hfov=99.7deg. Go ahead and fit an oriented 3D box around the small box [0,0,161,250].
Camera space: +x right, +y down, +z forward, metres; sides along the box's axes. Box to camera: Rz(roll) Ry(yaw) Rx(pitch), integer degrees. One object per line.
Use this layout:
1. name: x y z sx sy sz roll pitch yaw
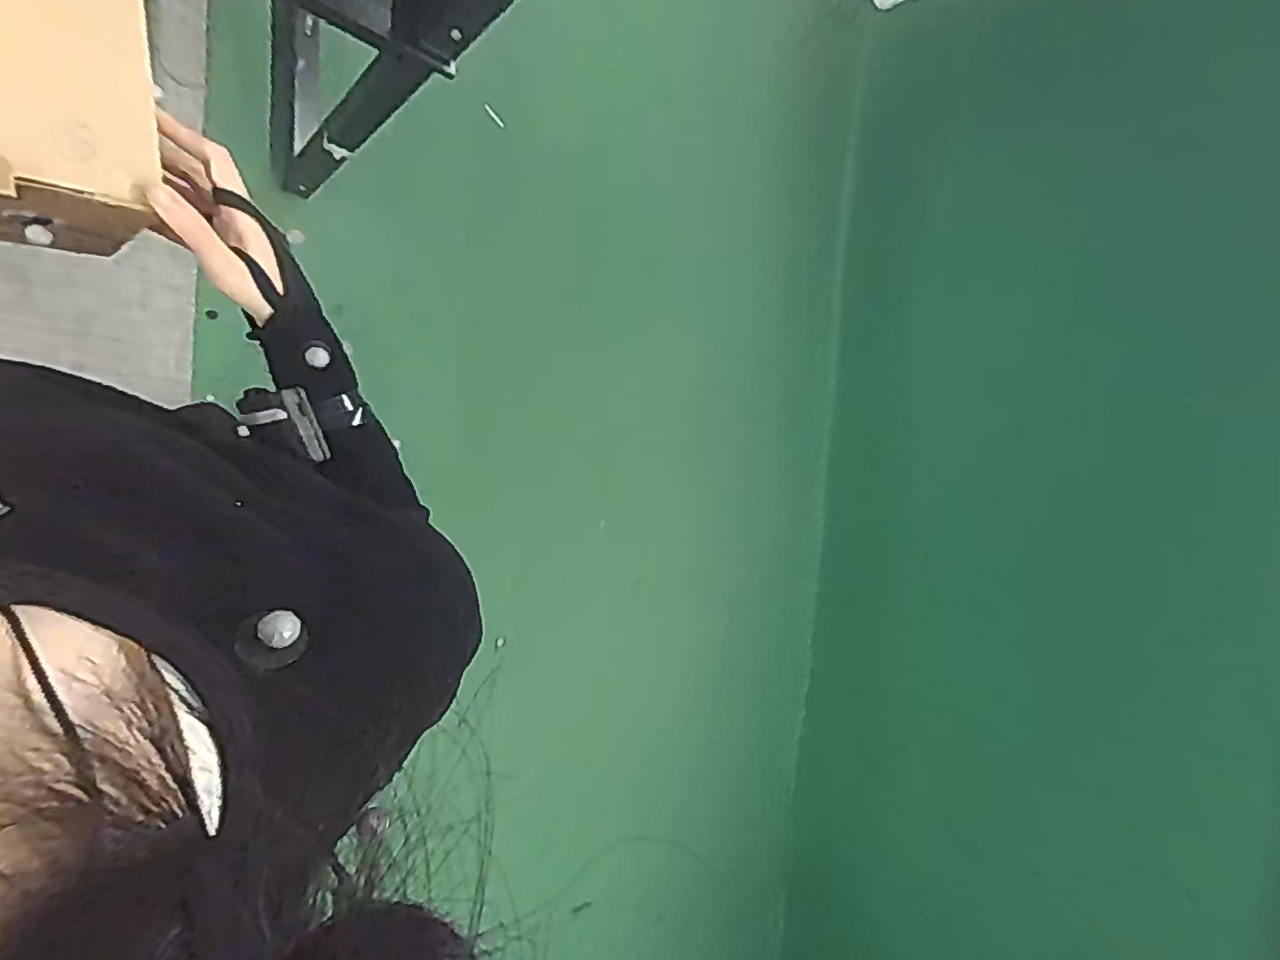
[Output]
1. small box: -0.388 -0.238 0.287 0.168 0.176 0.179 -9 102 -53
